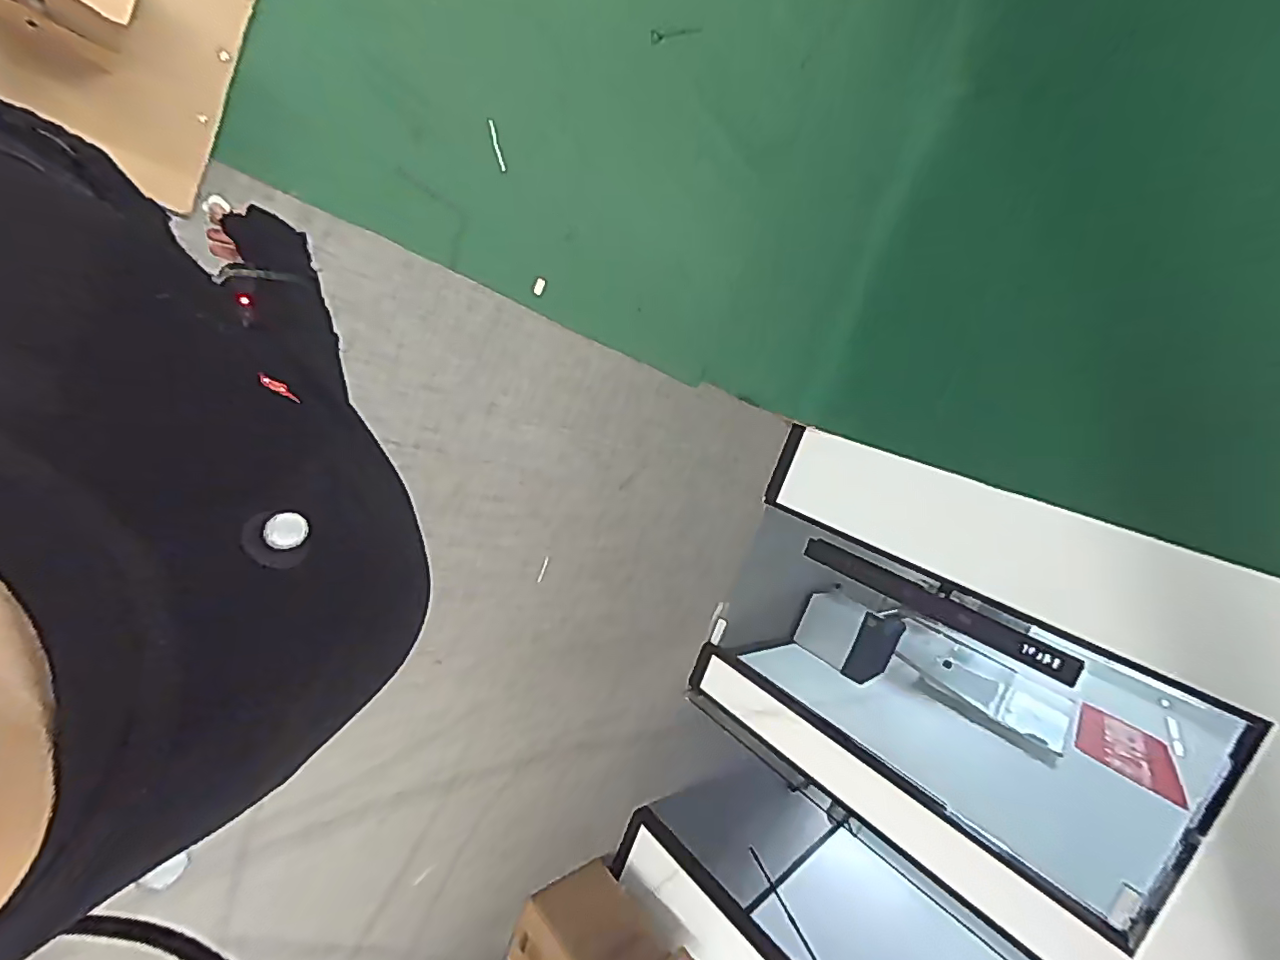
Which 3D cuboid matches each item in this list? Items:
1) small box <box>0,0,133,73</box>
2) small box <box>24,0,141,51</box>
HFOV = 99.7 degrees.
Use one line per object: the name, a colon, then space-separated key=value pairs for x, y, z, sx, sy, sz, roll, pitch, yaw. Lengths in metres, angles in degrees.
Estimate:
small box: x=-0.875 y=-0.763 z=0.814 sx=0.168 sy=0.176 sz=0.179 roll=12 pitch=102 yaw=-49
small box: x=-0.757 y=-0.716 z=0.706 sx=0.168 sy=0.176 sz=0.179 roll=16 pitch=98 yaw=-48
